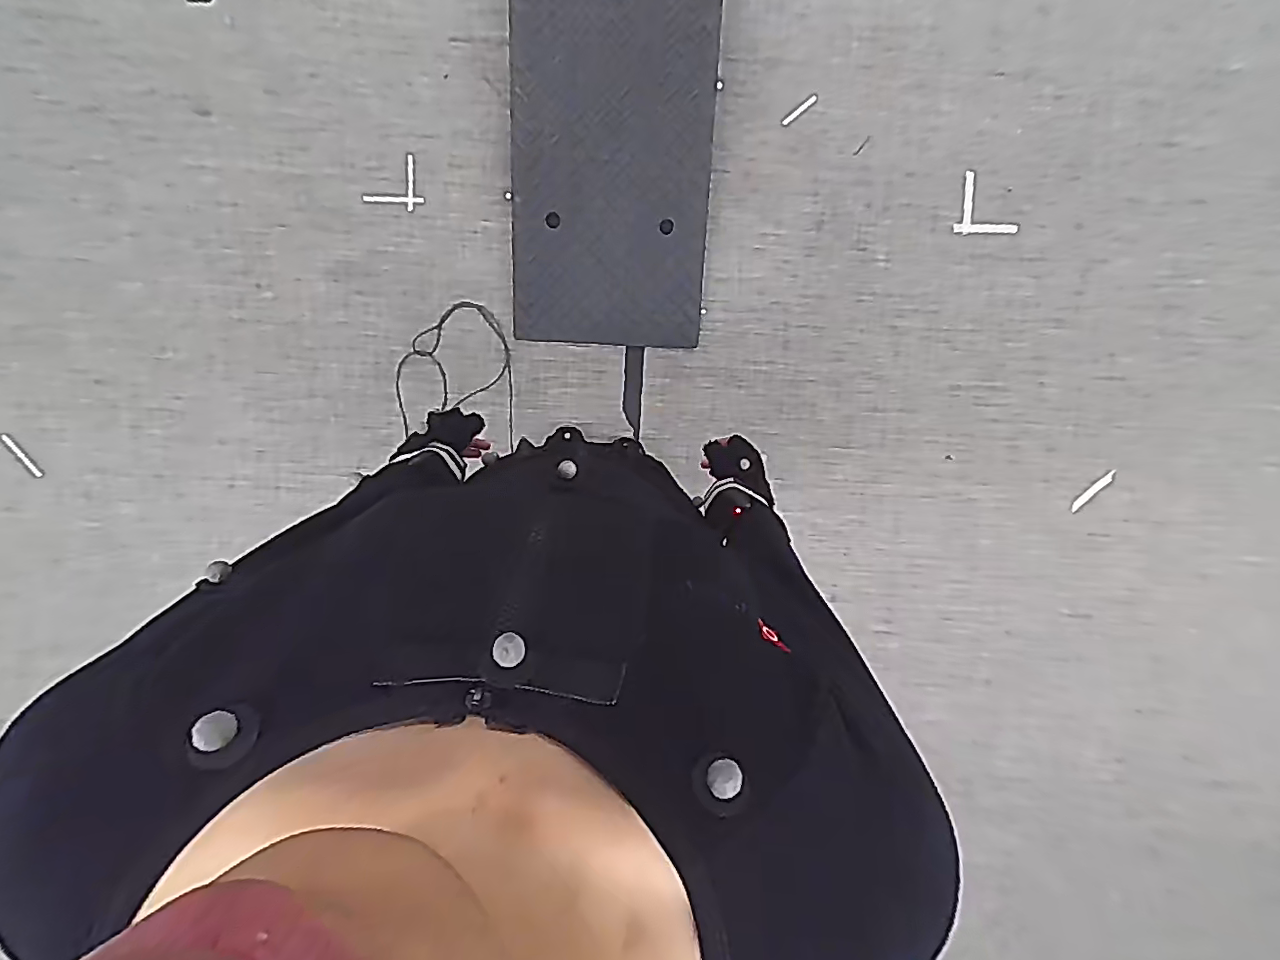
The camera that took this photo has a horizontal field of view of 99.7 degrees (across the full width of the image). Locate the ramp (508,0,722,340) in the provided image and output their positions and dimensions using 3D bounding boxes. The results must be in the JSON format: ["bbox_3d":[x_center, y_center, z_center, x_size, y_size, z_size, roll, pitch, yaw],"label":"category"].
[{"bbox_3d":[-0.065,-0.859,1.300,0.509,0.206,0.991,0,96,-3],"label":"ramp"}]
